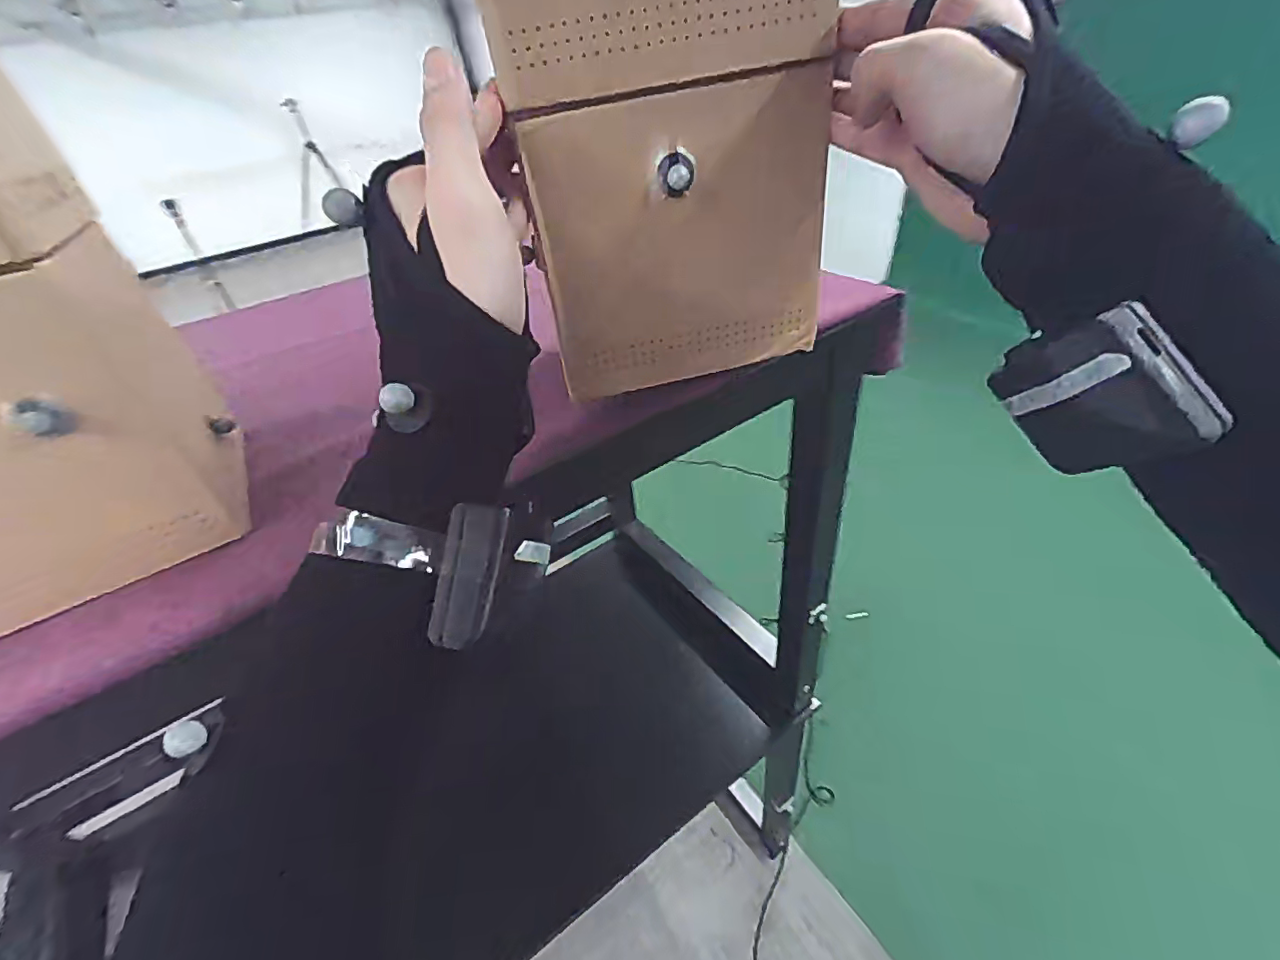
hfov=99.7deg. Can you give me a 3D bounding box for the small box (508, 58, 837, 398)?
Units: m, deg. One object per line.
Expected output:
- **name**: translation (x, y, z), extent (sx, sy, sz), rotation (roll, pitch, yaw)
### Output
- **small box**: translation (0.017, -0.175, 0.382), extent (0.179, 0.176, 0.168), rotation (-13, 38, -4)

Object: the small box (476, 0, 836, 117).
- **small box**: translation (-0.005, -0.300, 0.282), extent (0.179, 0.176, 0.168), rotation (-12, 38, -3)
